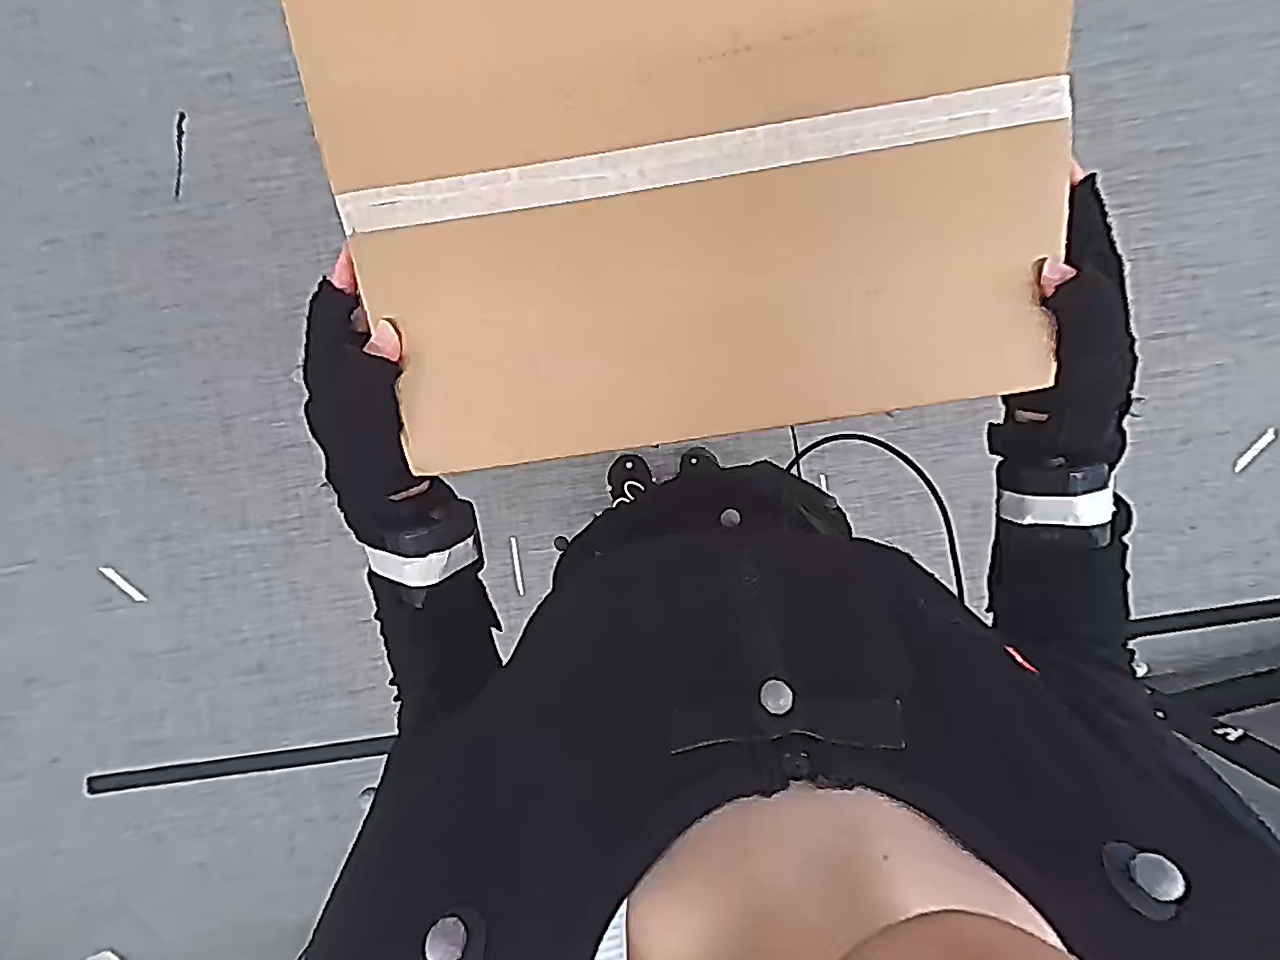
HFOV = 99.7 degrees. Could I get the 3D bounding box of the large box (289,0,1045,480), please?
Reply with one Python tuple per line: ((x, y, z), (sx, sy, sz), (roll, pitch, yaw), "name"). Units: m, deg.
((0.028, -0.216, 0.454), (0.408, 0.320, 0.320), (-8, 105, 2), "large box")
